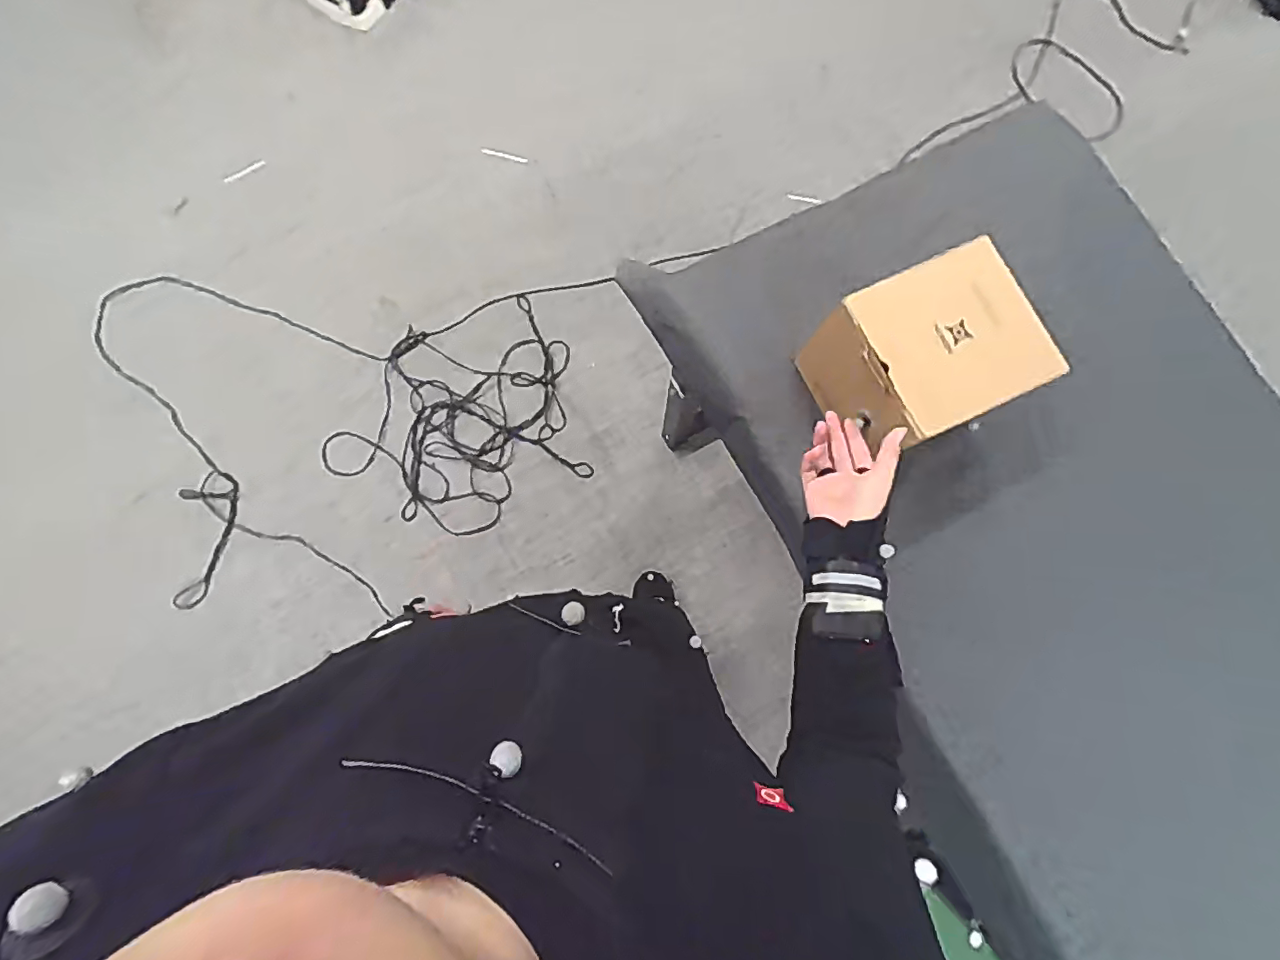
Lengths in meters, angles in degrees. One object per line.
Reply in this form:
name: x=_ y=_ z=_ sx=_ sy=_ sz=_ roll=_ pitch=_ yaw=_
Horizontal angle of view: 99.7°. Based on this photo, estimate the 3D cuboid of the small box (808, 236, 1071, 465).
small box: x=0.315 y=-0.132 z=0.618 sx=0.179 sy=0.176 sz=0.168 roll=-25 pitch=83 yaw=-6
